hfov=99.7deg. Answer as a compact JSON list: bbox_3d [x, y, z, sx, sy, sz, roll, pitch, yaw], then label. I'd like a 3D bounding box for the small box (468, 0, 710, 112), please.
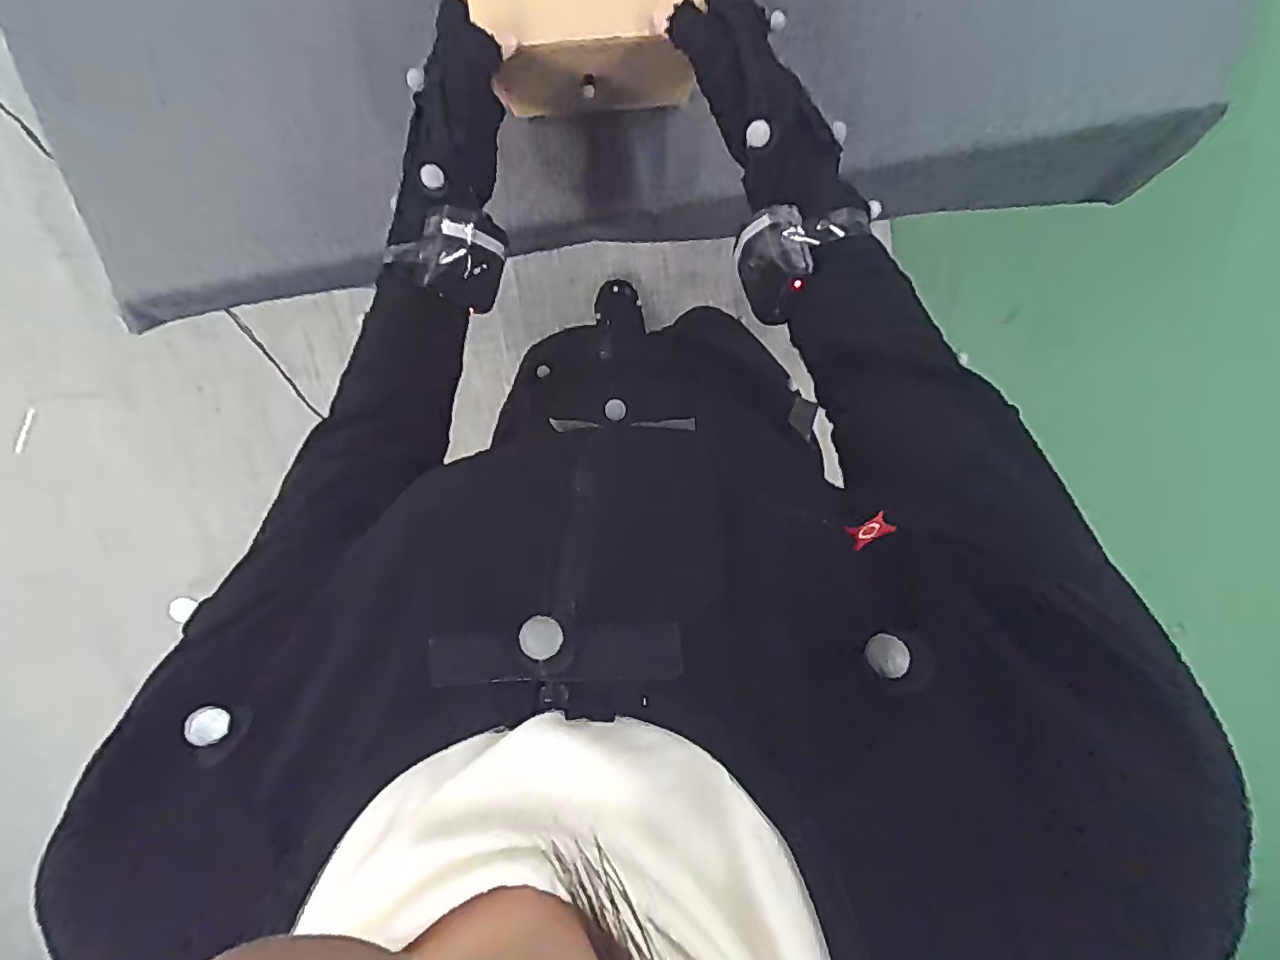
[{"bbox_3d":[-0.043,-0.424,0.444,0.179,0.176,0.168,-4,110,1],"label":"small box"}]
